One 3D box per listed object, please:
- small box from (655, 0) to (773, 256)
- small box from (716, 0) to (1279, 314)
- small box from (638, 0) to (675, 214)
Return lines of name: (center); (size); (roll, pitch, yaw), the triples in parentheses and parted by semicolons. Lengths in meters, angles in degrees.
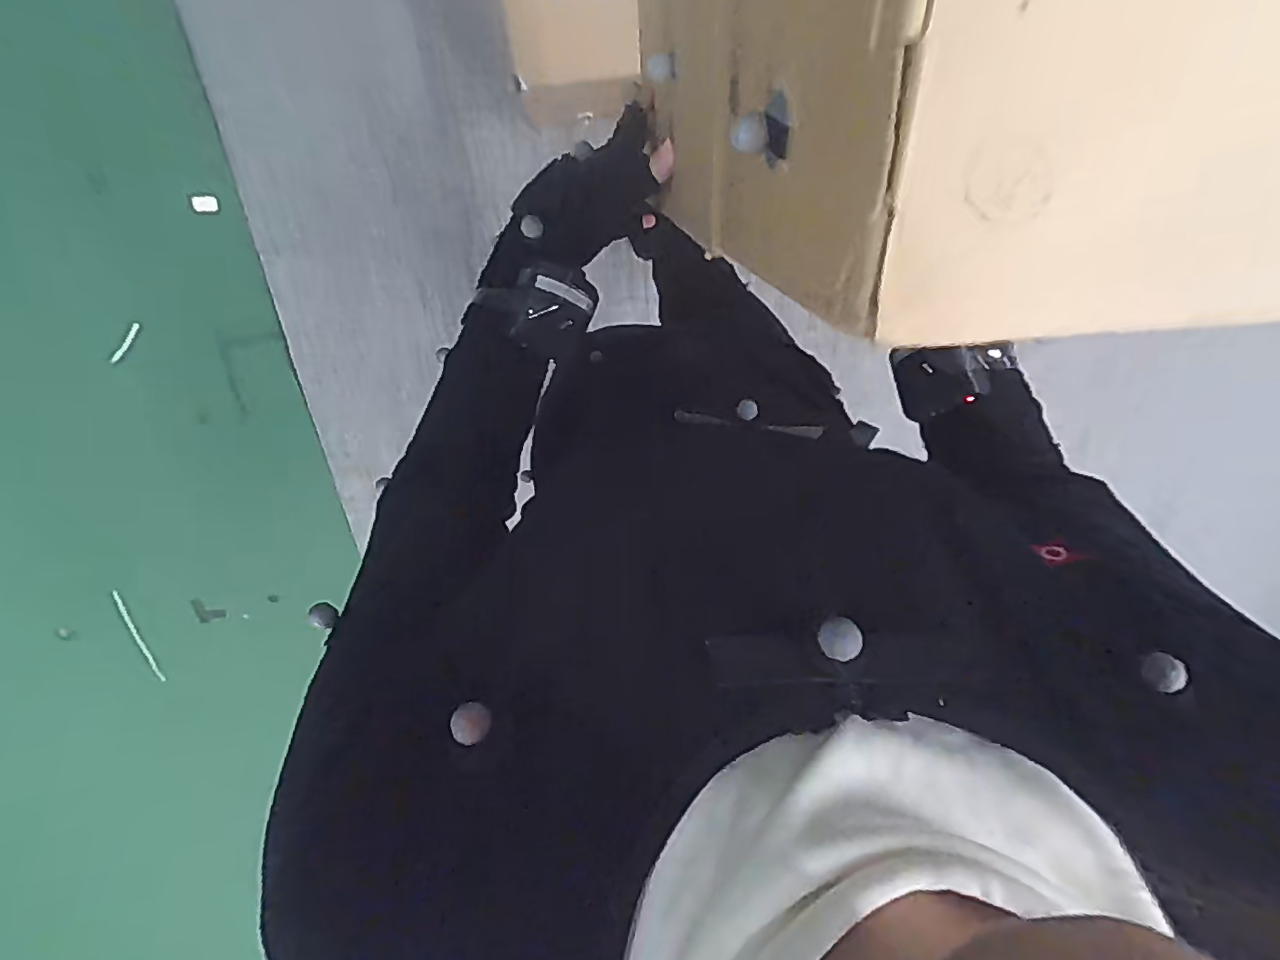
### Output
small box: (0.110, -0.236, 0.305); (0.179, 0.176, 0.168); (-8, 122, -2)
small box: (0.124, -0.158, 0.164); (0.179, 0.176, 0.168); (-5, 123, -3)
small box: (0.089, -0.329, 0.440); (0.168, 0.176, 0.179); (-6, 122, -2)
